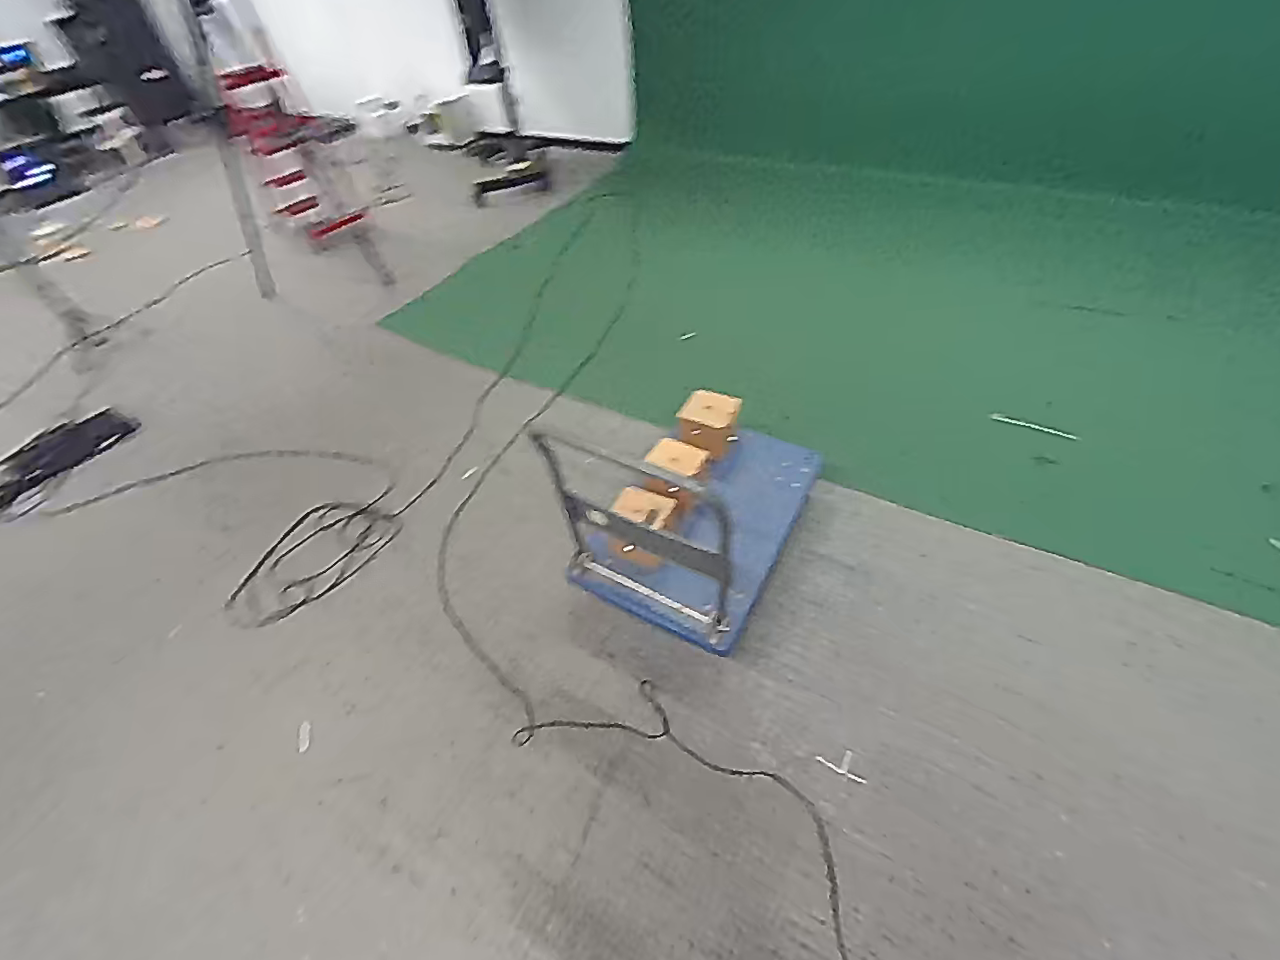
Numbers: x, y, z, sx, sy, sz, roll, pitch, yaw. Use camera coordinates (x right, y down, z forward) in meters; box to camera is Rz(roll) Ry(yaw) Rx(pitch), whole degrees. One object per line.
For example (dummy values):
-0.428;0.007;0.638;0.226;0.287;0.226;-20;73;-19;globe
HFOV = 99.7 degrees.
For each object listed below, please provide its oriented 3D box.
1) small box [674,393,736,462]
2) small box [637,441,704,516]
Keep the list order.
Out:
0.243;-0.193;2.020;0.179;0.176;0.168;20;54;22;small box
0.108;-0.002;1.866;0.179;0.176;0.168;22;54;22;small box
